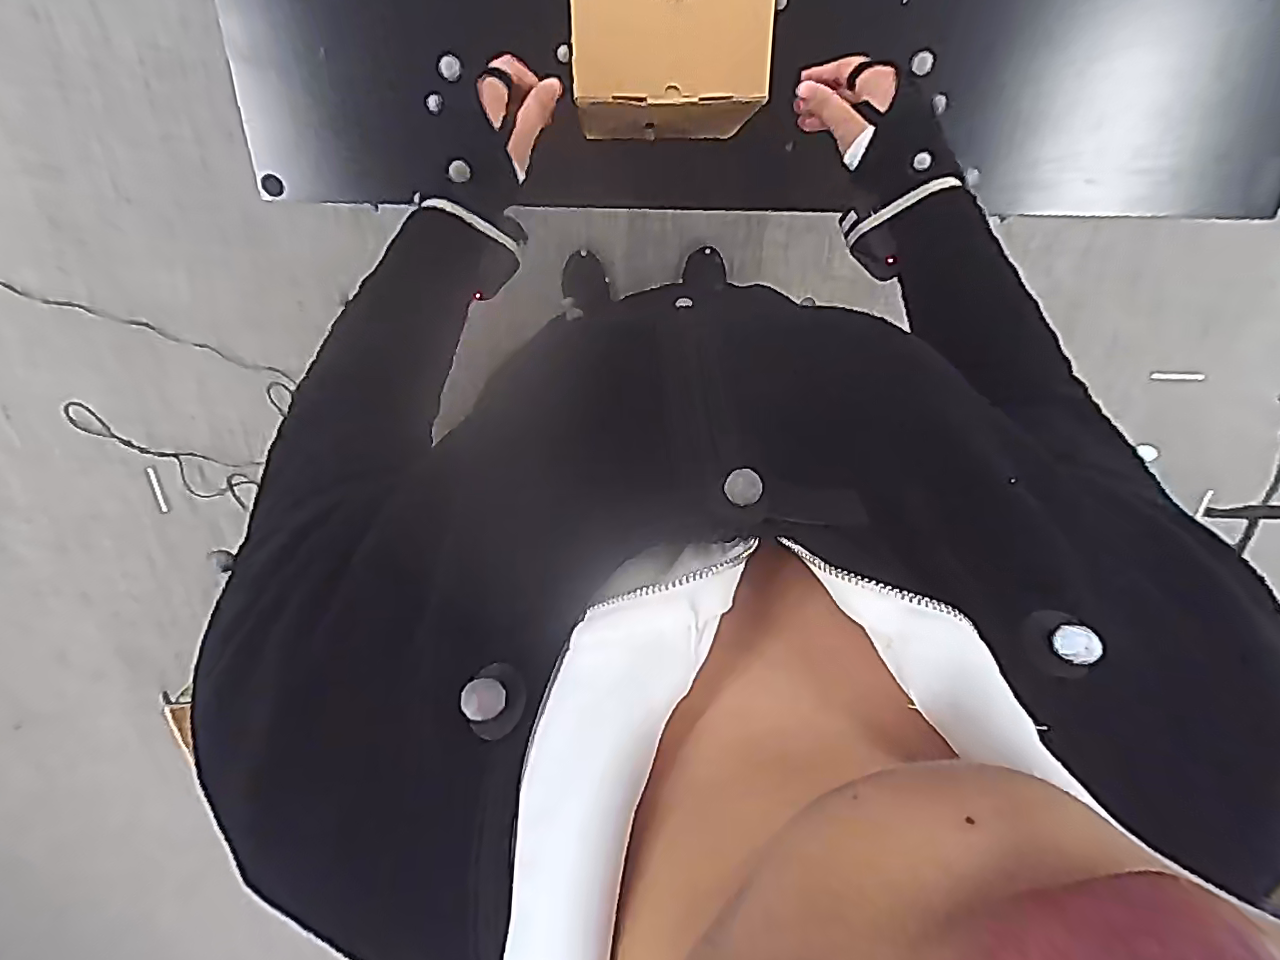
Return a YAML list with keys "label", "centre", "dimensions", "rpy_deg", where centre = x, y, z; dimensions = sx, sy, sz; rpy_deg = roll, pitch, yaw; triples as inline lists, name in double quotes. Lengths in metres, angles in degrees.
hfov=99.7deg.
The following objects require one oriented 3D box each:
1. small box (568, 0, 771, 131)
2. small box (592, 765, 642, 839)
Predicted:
- label: "small box"
  centre: [0.019, -0.438, 0.494]
  dimensions: [0.168, 0.176, 0.179]
  rpy_deg: [-2, 114, -2]
- label: "small box"
  centre: [-0.087, 1.158, 1.954]
  dimensions: [0.168, 0.176, 0.179]
  rpy_deg: [4, 112, -5]
